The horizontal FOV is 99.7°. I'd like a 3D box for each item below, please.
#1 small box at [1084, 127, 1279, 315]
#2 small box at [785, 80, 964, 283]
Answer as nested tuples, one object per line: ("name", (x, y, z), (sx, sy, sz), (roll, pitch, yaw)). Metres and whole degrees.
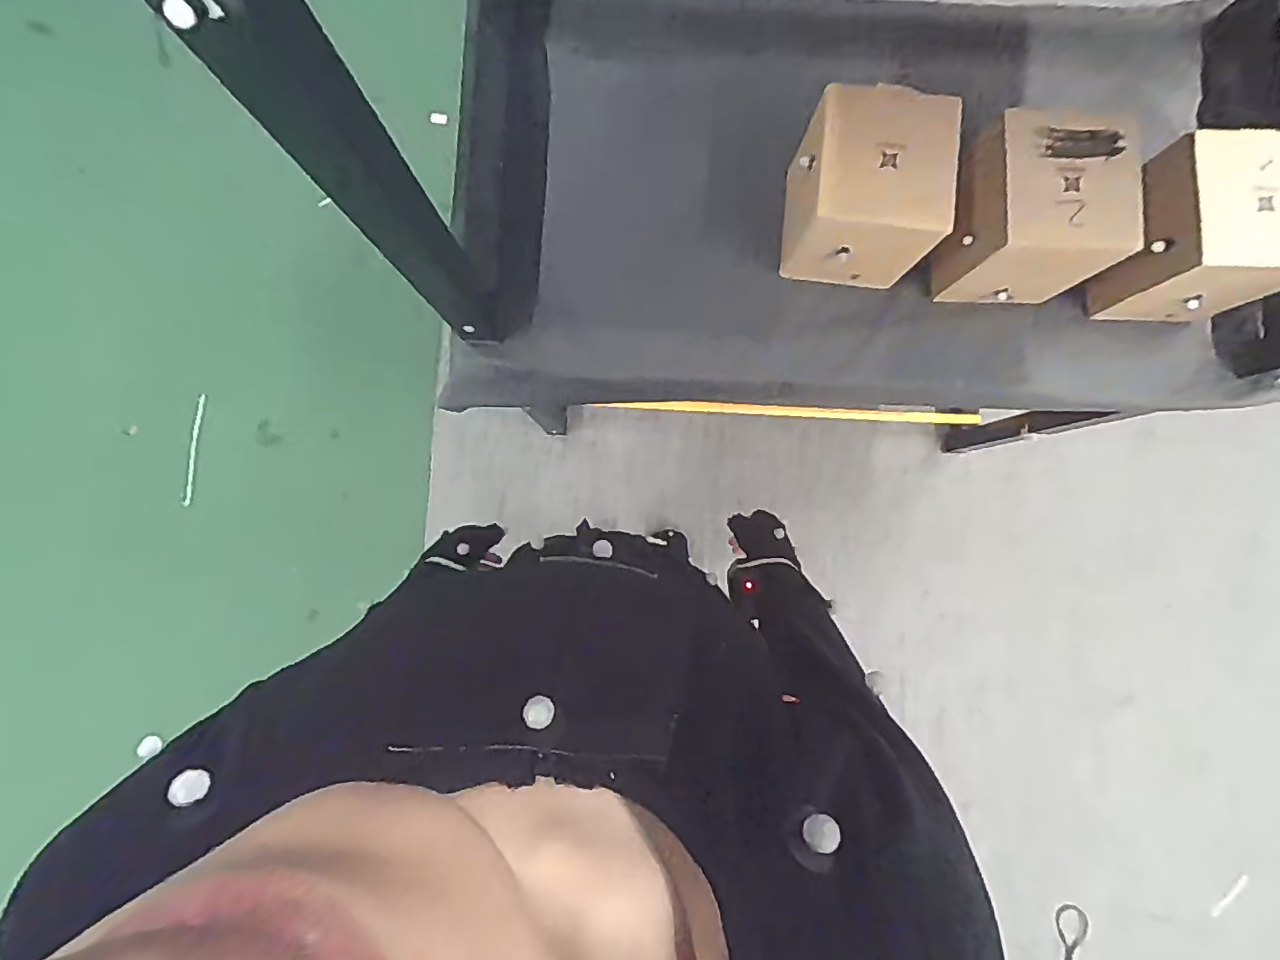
("small box", (0.748, -0.335, 0.730), (0.168, 0.176, 0.179), (1, 85, -1))
("small box", (0.303, -0.388, 0.732), (0.168, 0.176, 0.179), (6, 85, 0))
